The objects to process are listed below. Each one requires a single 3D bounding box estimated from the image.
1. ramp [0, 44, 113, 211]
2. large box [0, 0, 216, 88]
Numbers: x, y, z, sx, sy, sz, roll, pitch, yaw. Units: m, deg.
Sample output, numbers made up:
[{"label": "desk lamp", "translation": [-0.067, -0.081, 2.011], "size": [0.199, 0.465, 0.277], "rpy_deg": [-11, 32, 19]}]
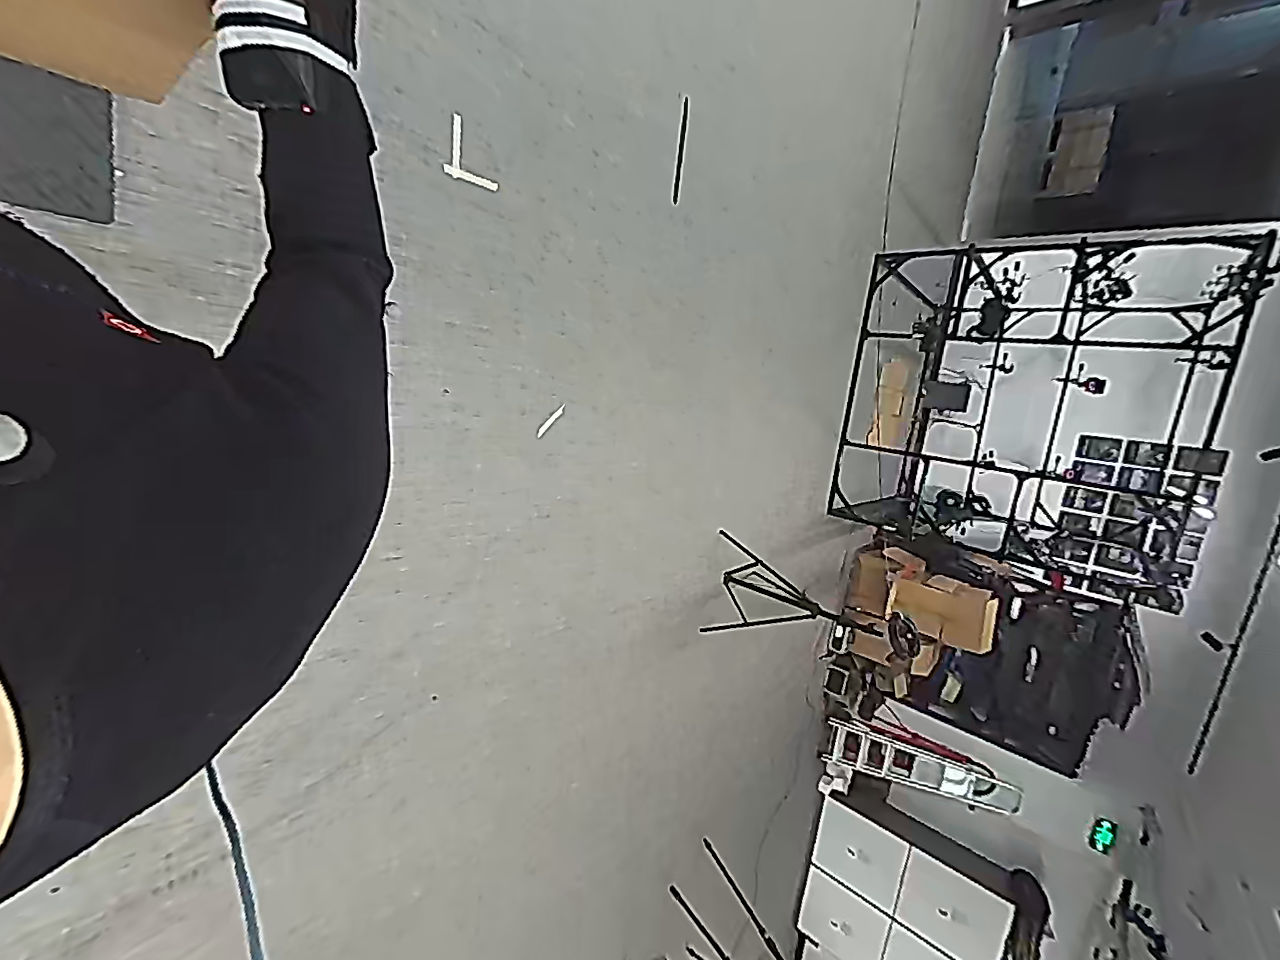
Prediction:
[{"label": "ramp", "translation": [-1.038, -0.952, 0.709], "size": [0.509, 0.206, 0.991], "rpy_deg": [-8, 109, -50]}, {"label": "large box", "translation": [-0.479, -0.476, 0.255], "size": [0.408, 0.320, 0.320], "rpy_deg": [-10, 108, -50]}]
